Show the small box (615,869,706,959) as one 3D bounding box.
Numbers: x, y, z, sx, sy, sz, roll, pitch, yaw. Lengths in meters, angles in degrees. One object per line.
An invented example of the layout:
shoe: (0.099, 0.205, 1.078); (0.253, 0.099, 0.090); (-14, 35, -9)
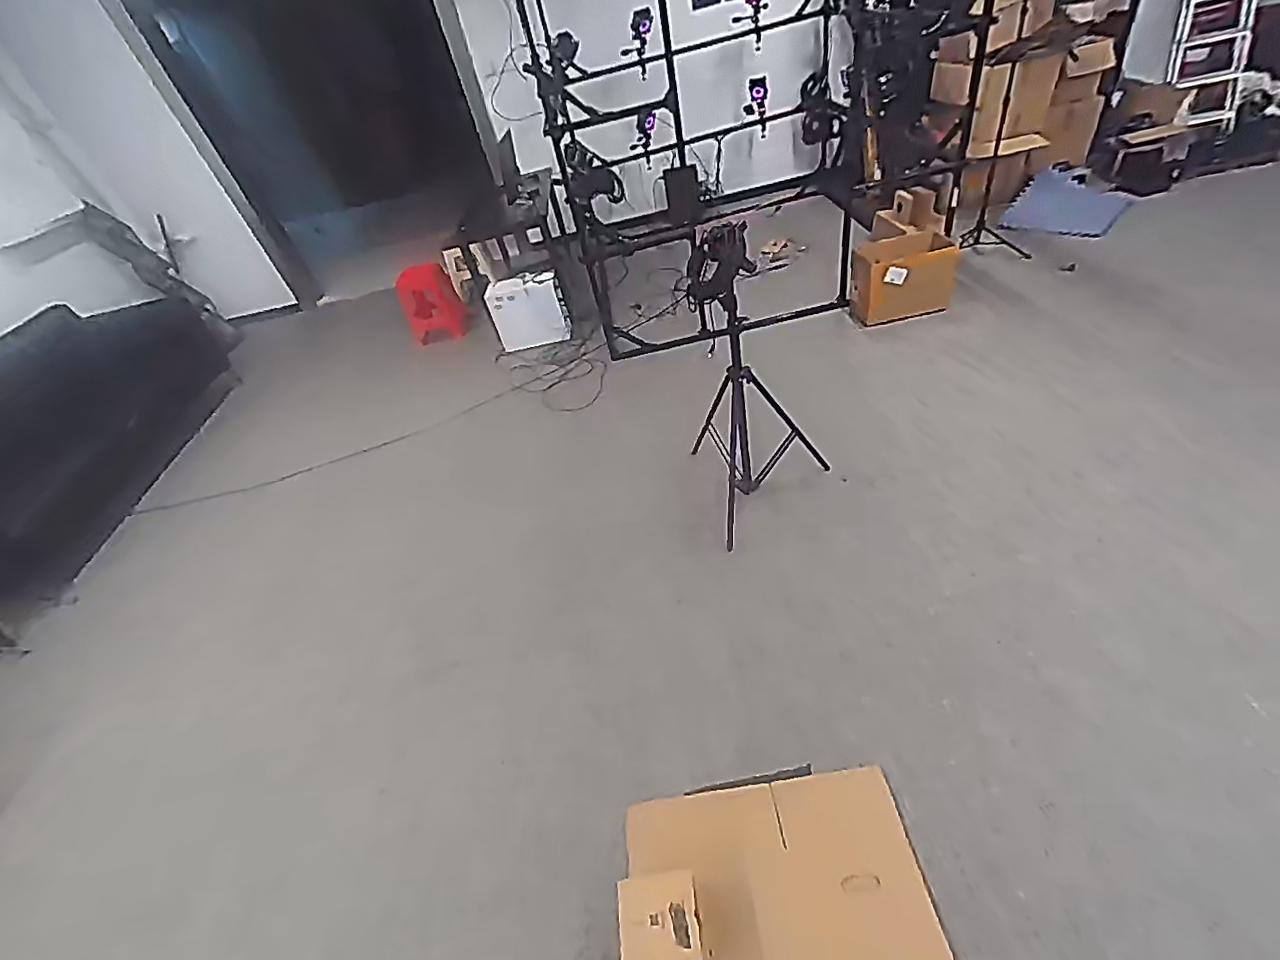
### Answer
small box: (0.048, 1.003, 1.218); (0.179, 0.176, 0.168); (-12, 41, 5)
